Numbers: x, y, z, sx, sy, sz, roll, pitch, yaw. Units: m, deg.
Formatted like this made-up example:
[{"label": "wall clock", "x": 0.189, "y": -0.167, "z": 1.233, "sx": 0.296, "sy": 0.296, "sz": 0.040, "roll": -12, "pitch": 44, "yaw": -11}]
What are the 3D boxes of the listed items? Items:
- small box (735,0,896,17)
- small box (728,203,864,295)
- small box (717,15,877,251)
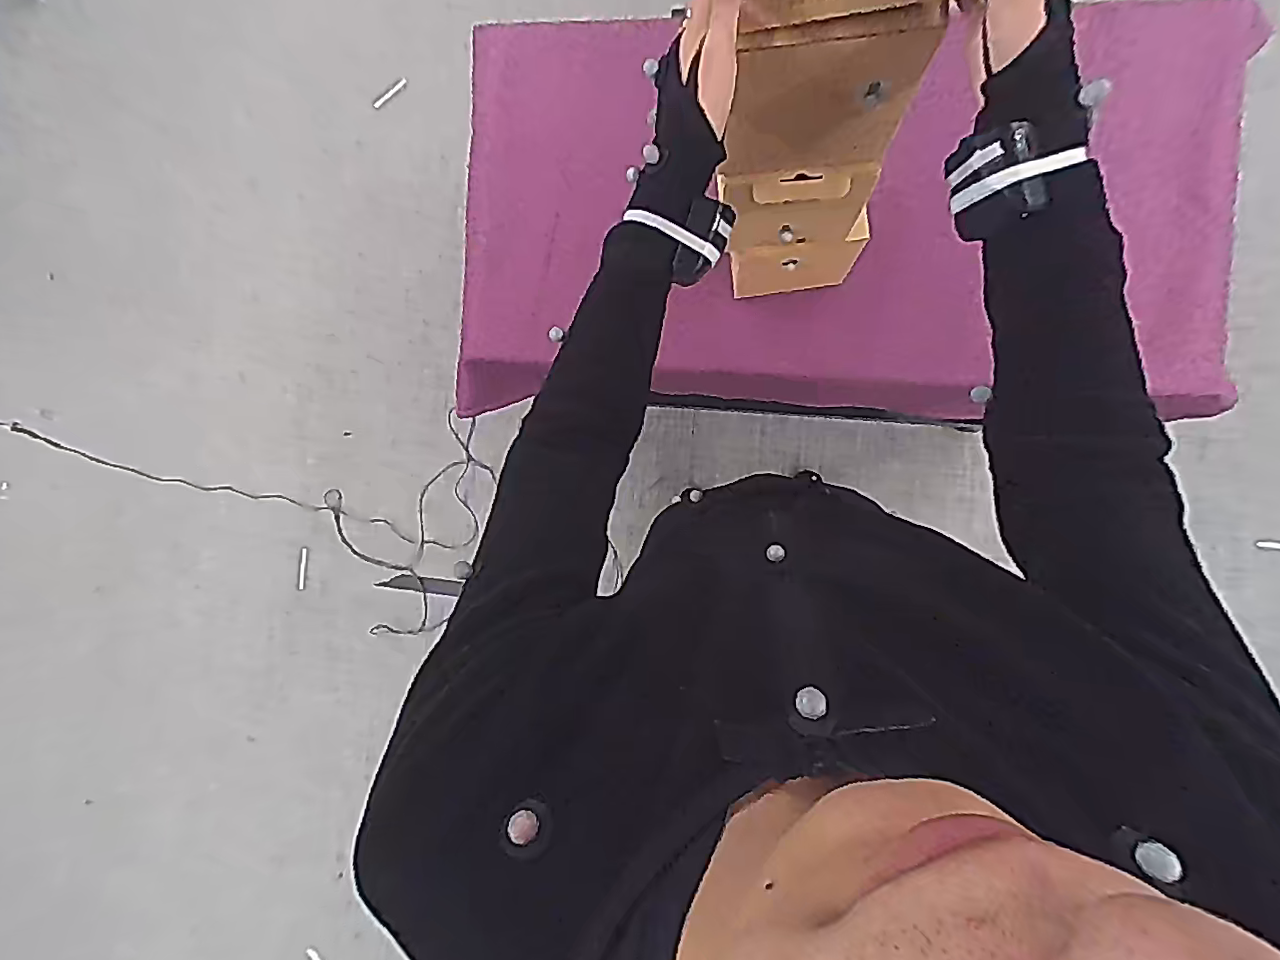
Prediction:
[{"label": "small box", "x": 0.134, "y": -0.433, "z": 0.328, "sx": 0.168, "sy": 0.176, "sz": 0.179, "roll": 0, "pitch": 87, "yaw": 14}, {"label": "small box", "x": 0.222, "y": -0.395, "z": 0.821, "sx": 0.179, "sy": 0.176, "sz": 0.168, "roll": -6, "pitch": 89, "yaw": 7}, {"label": "small box", "x": 0.179, "y": -0.405, "z": 0.661, "sx": 0.168, "sy": 0.176, "sz": 0.179, "roll": 0, "pitch": 89, "yaw": 8}]
